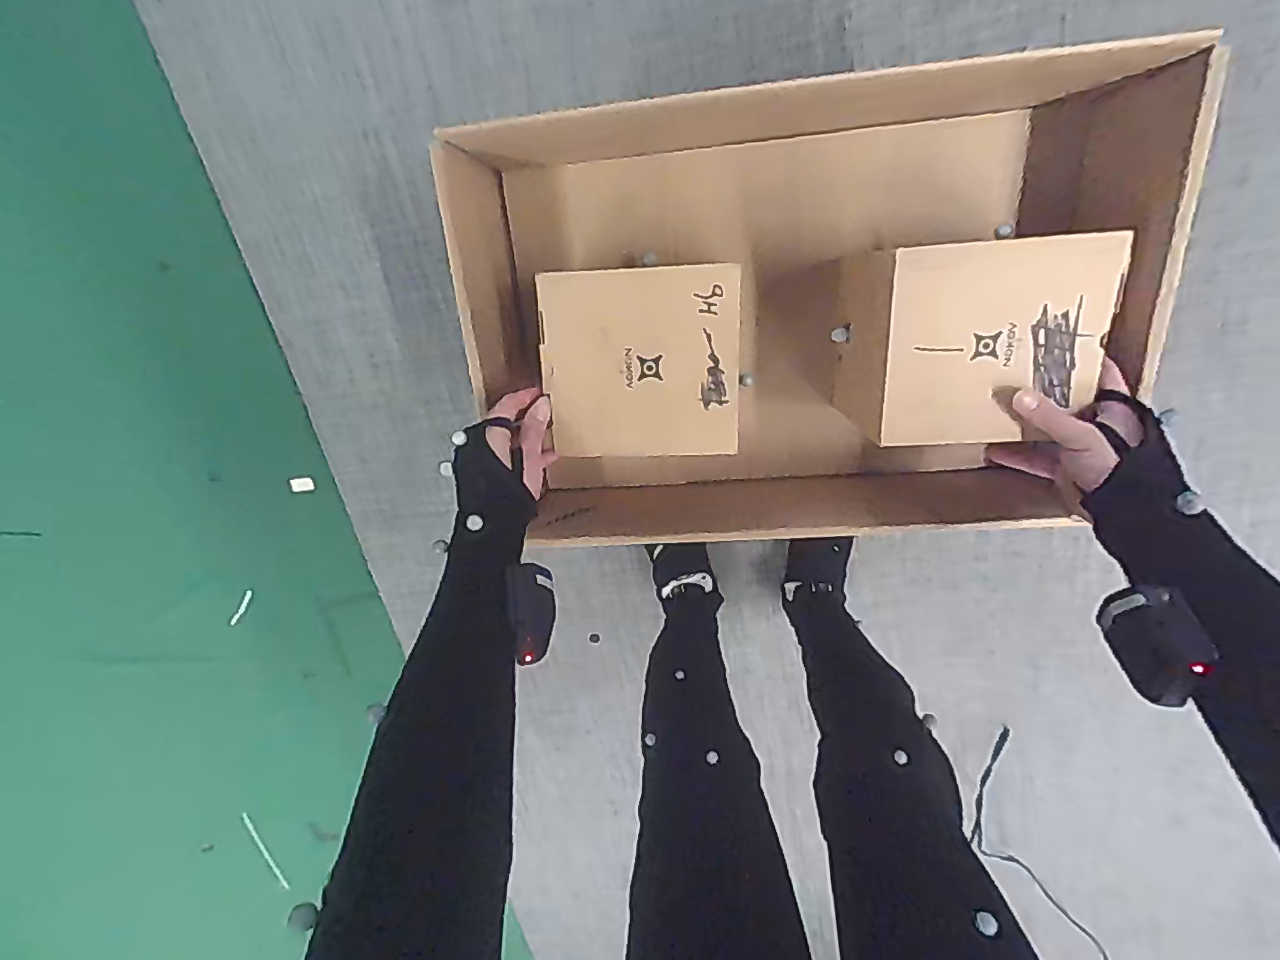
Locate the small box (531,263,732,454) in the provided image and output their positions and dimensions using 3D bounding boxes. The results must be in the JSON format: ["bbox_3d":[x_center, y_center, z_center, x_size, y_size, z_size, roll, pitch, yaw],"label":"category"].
[{"bbox_3d":[0.003,-0.128,0.556,0.179,0.176,0.168,0,110,7],"label":"small box"}]
